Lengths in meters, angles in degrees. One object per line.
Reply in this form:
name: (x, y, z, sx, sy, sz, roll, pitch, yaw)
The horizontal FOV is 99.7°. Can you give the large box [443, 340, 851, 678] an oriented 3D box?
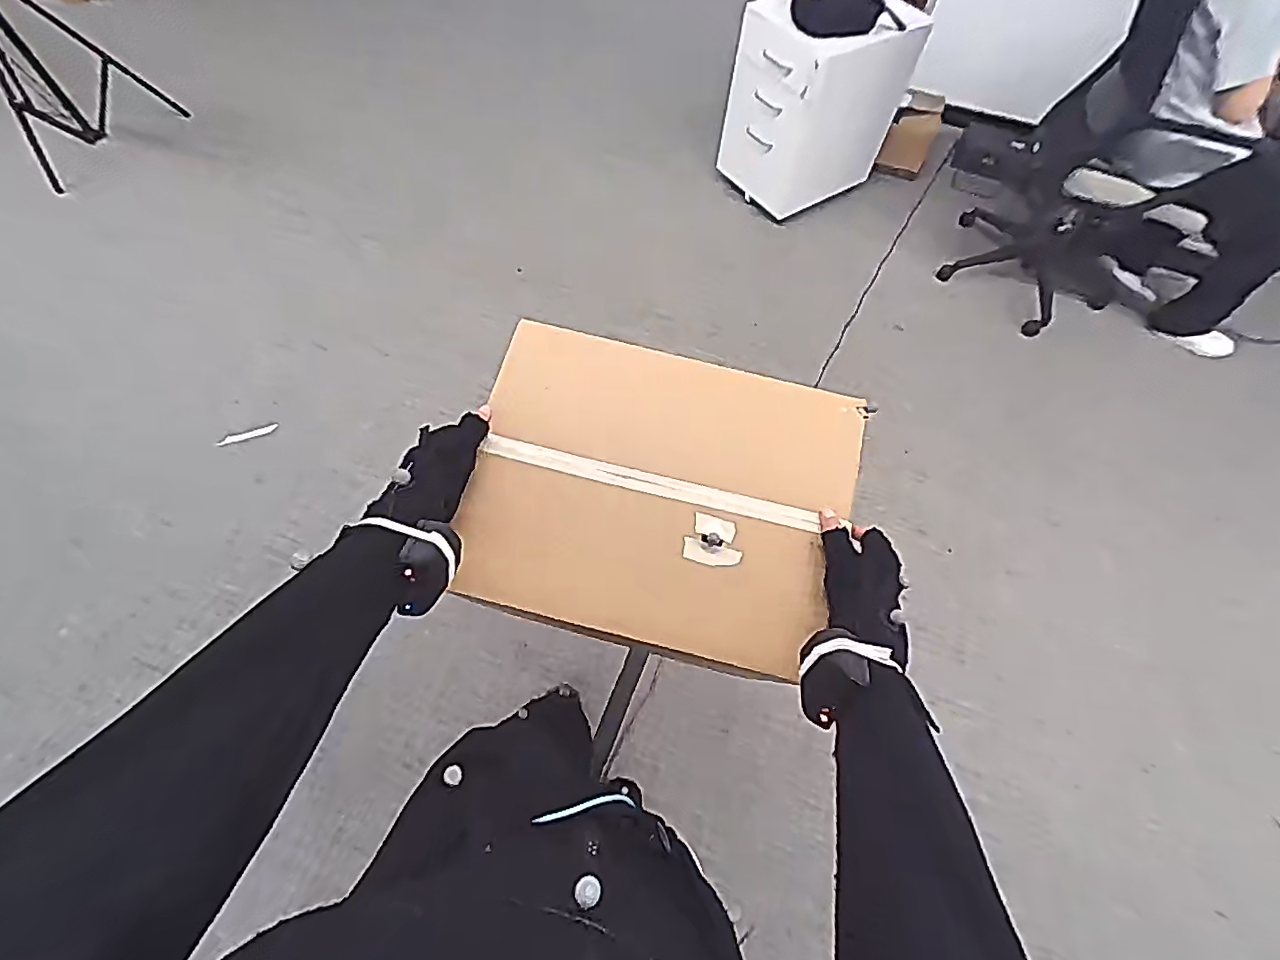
large box: (0.013, 0.061, 0.733, 0.408, 0.320, 0.320, 14, 73, 2)
